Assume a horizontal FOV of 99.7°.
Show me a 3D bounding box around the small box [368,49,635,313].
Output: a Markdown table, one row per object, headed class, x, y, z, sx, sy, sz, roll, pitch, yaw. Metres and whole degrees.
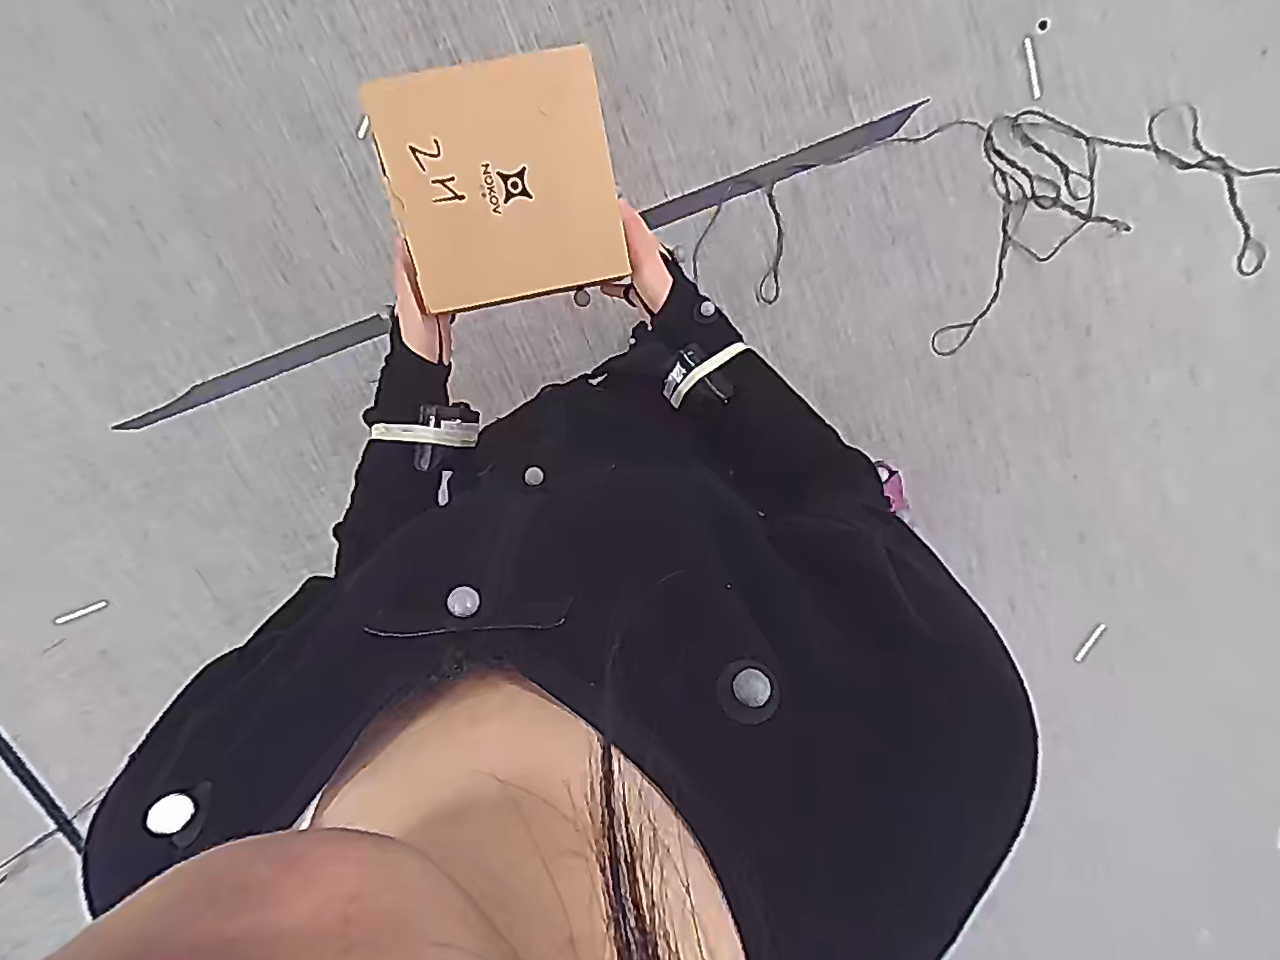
| class | x | y | z | sx | sy | sz | roll | pitch | yaw |
| --- | --- | --- | --- | --- | --- | --- | --- | --- | --- |
| small box | -0.111 | -0.254 | 0.498 | 0.179 | 0.176 | 0.168 | -12 | 108 | -3 |
